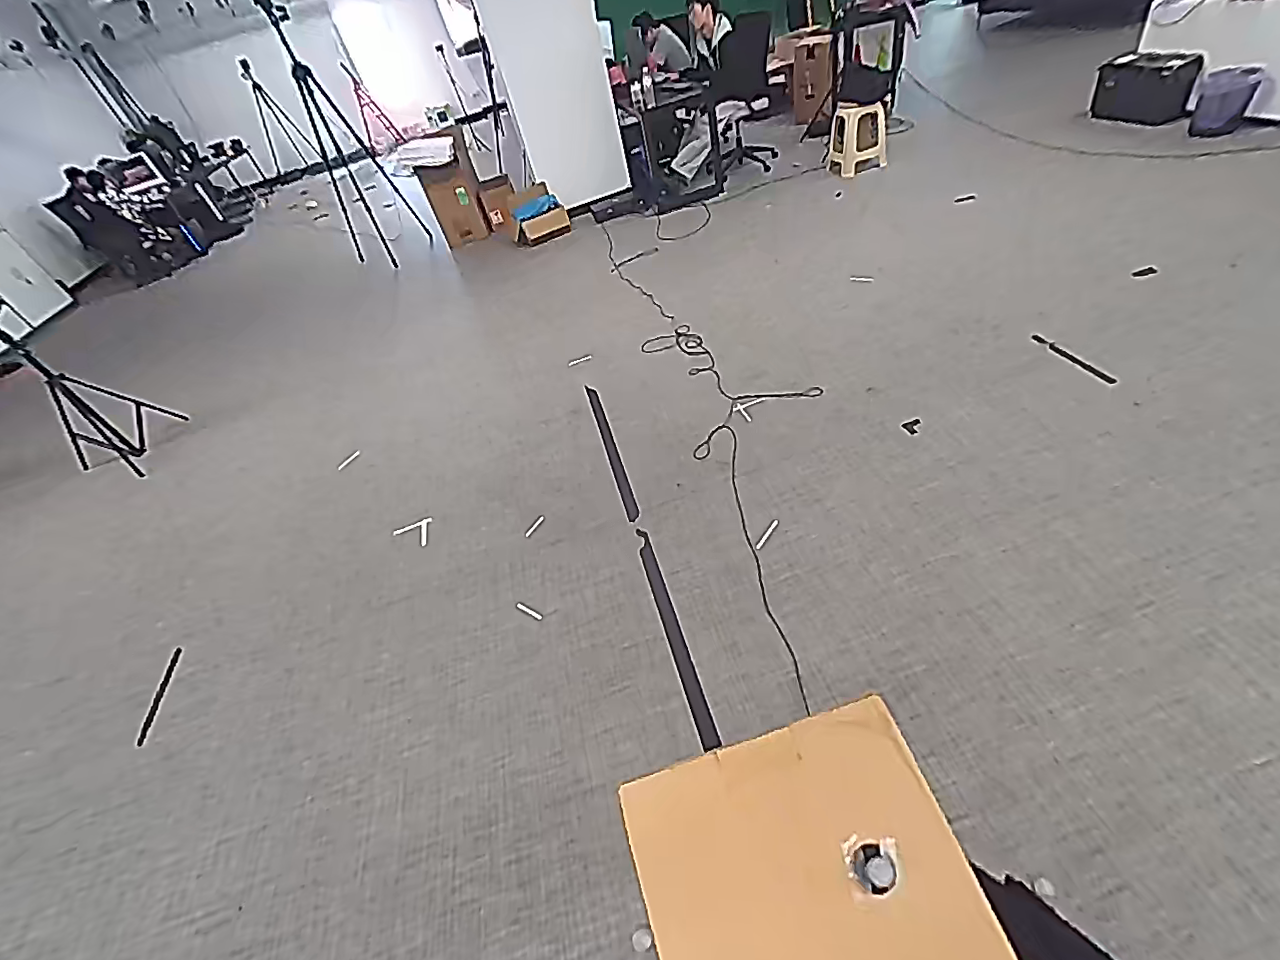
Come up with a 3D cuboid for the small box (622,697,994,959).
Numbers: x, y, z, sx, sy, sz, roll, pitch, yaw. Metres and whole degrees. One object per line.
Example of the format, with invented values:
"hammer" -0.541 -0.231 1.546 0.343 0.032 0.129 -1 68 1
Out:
"small box" 0.097 0.266 0.359 0.168 0.179 0.176 -17 61 -5
